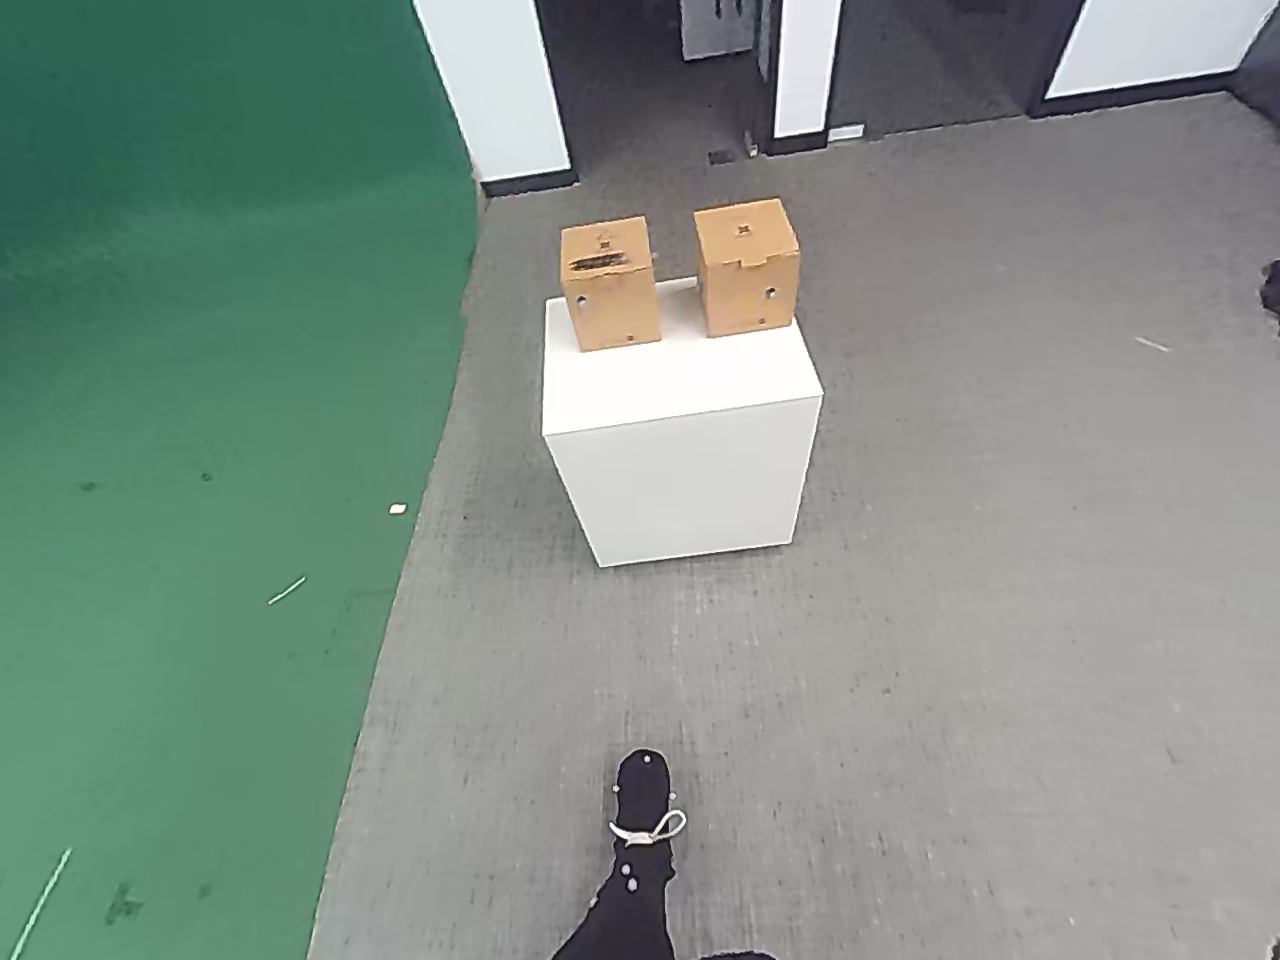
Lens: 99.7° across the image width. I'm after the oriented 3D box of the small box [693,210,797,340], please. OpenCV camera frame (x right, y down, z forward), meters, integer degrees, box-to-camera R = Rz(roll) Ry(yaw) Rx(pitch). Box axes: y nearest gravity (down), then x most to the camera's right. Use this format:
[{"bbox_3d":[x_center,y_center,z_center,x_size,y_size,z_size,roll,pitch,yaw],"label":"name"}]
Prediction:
[{"bbox_3d":[0.197,-0.388,1.049,0.168,0.176,0.179,-7,54,3],"label":"small box"}]
